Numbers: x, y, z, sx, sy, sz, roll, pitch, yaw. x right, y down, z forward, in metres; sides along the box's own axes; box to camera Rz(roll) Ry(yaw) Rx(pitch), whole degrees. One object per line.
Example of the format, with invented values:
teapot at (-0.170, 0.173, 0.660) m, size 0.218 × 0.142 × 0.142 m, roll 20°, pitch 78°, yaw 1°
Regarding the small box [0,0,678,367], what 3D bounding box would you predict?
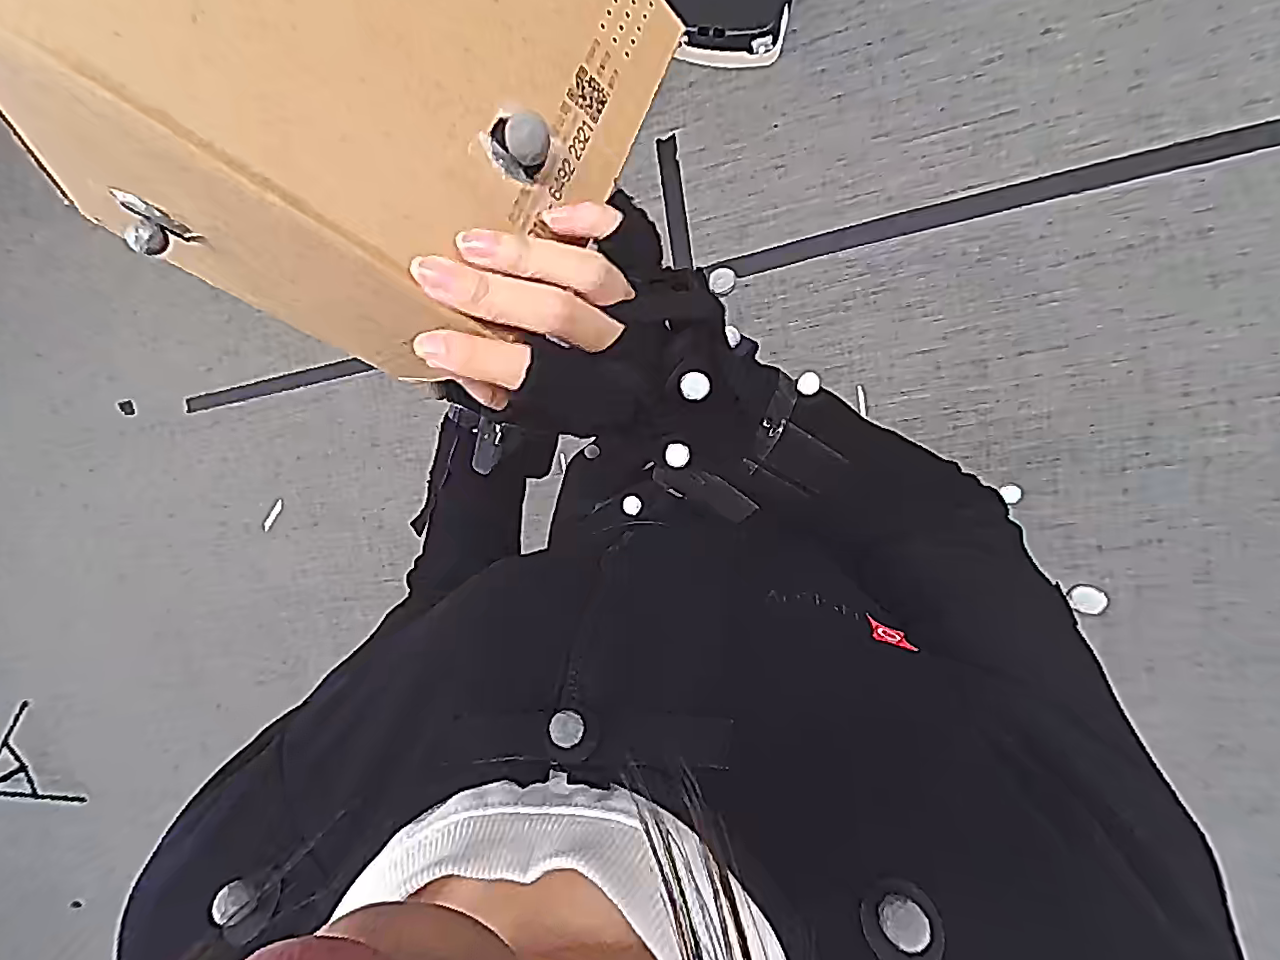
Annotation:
small box at (-0.115, -0.166, 0.256) m, size 0.179 × 0.176 × 0.168 m, roll 9°, pitch 75°, yaw 52°
